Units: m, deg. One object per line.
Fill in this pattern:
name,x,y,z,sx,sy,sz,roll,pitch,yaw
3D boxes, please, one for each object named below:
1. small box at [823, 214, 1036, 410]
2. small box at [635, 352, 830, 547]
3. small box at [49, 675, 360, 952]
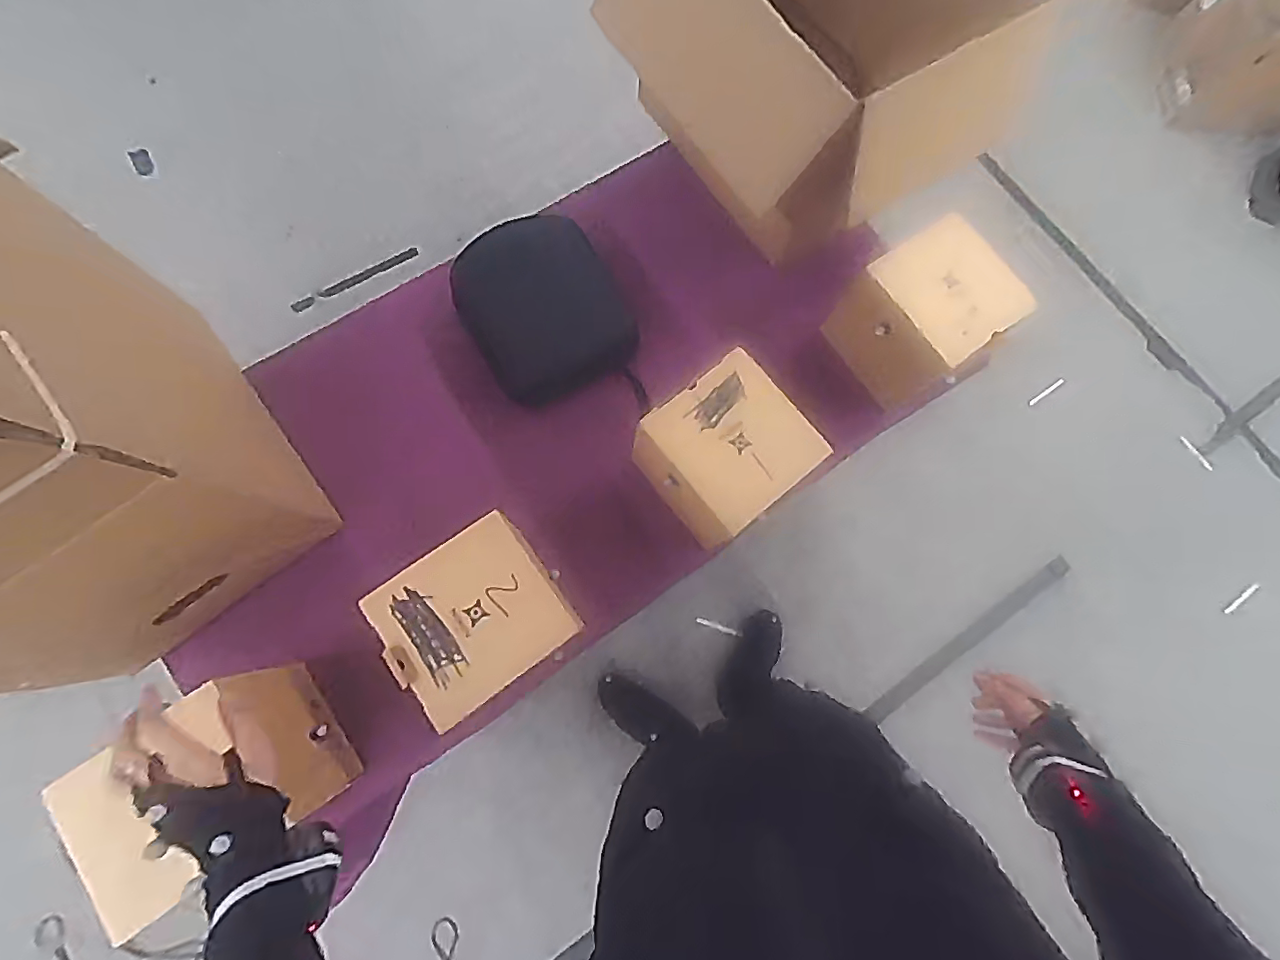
small box,0.399,-0.231,0.782,0.168,0.176,0.179,-34,80,-9
small box,0.107,-0.028,0.719,0.168,0.176,0.179,-38,82,-11
small box,-0.455,0.340,0.597,0.179,0.176,0.168,-35,81,-12
